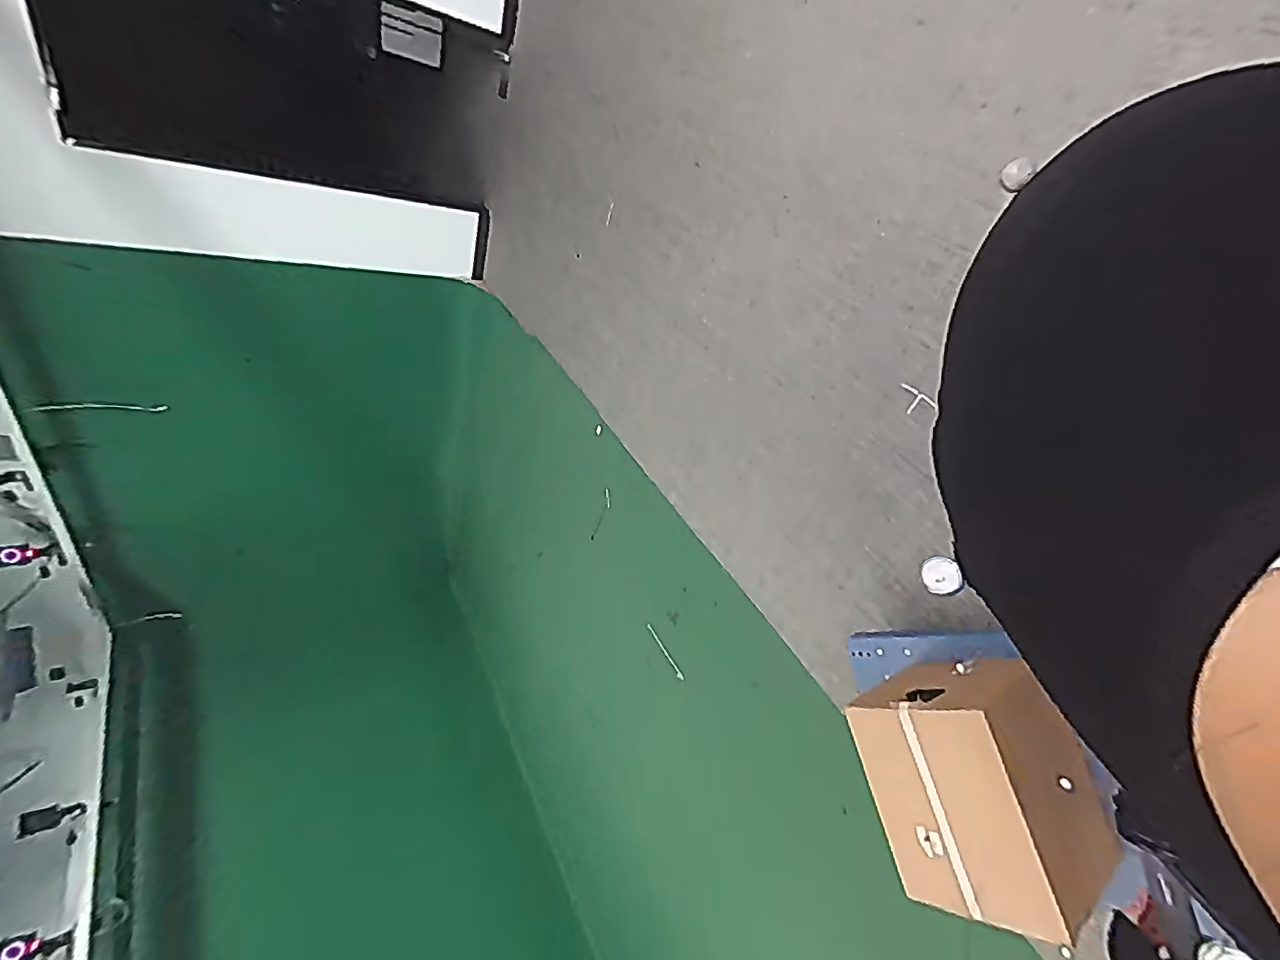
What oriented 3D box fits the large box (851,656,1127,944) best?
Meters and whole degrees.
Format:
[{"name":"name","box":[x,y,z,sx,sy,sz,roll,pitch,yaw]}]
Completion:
[{"name":"large box","box":[0.735,0.633,1.159,0.320,0.320,0.408,-32,72,52]}]
